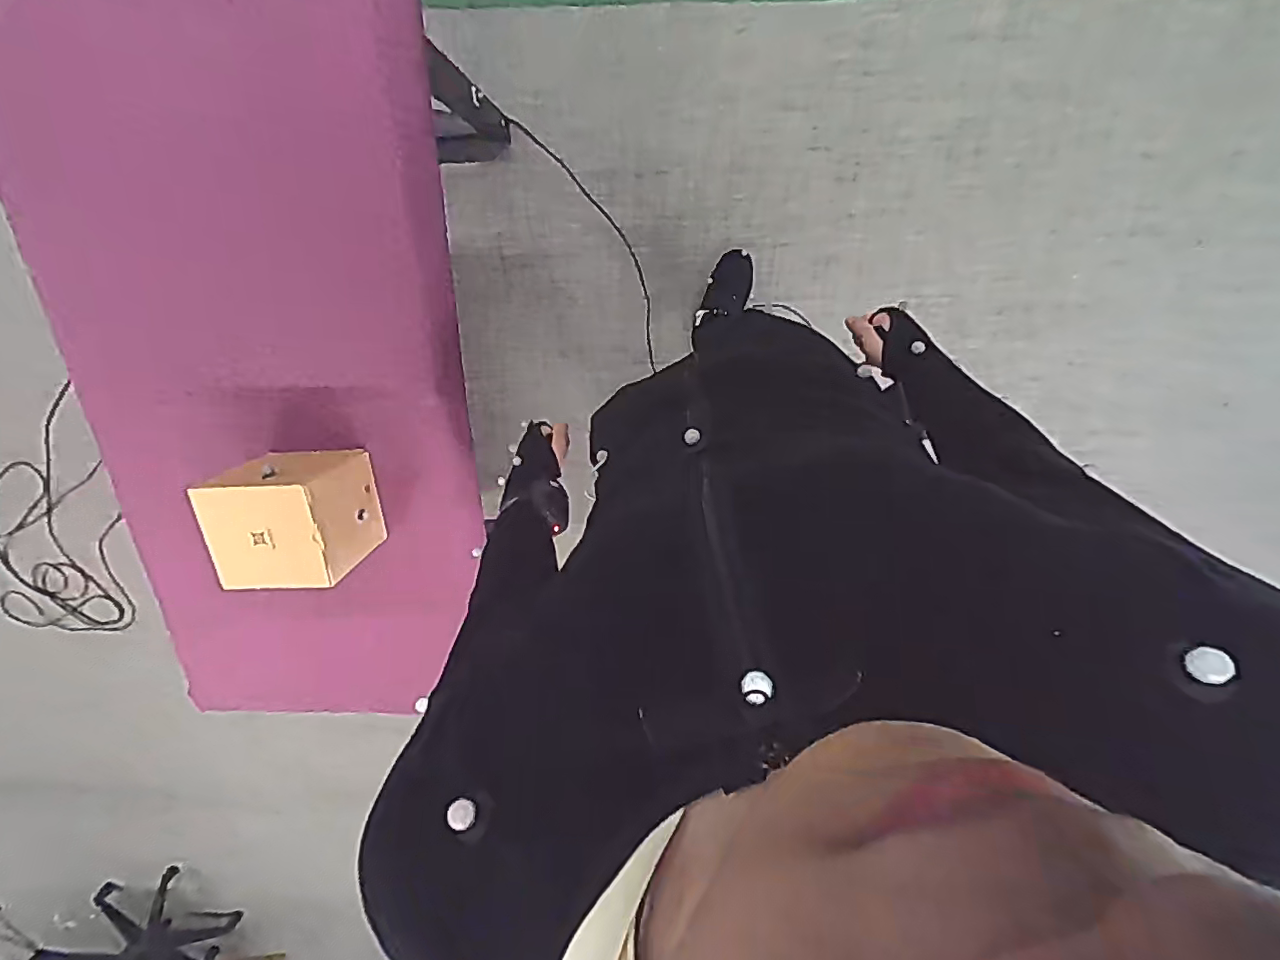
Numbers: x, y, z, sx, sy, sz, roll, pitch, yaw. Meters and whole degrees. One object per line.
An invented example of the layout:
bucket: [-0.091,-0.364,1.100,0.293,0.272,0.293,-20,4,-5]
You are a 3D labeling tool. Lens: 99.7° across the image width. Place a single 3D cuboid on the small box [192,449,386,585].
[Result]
small box: [-0.540,0.053,0.858,0.179,0.176,0.168,-2,110,3]
